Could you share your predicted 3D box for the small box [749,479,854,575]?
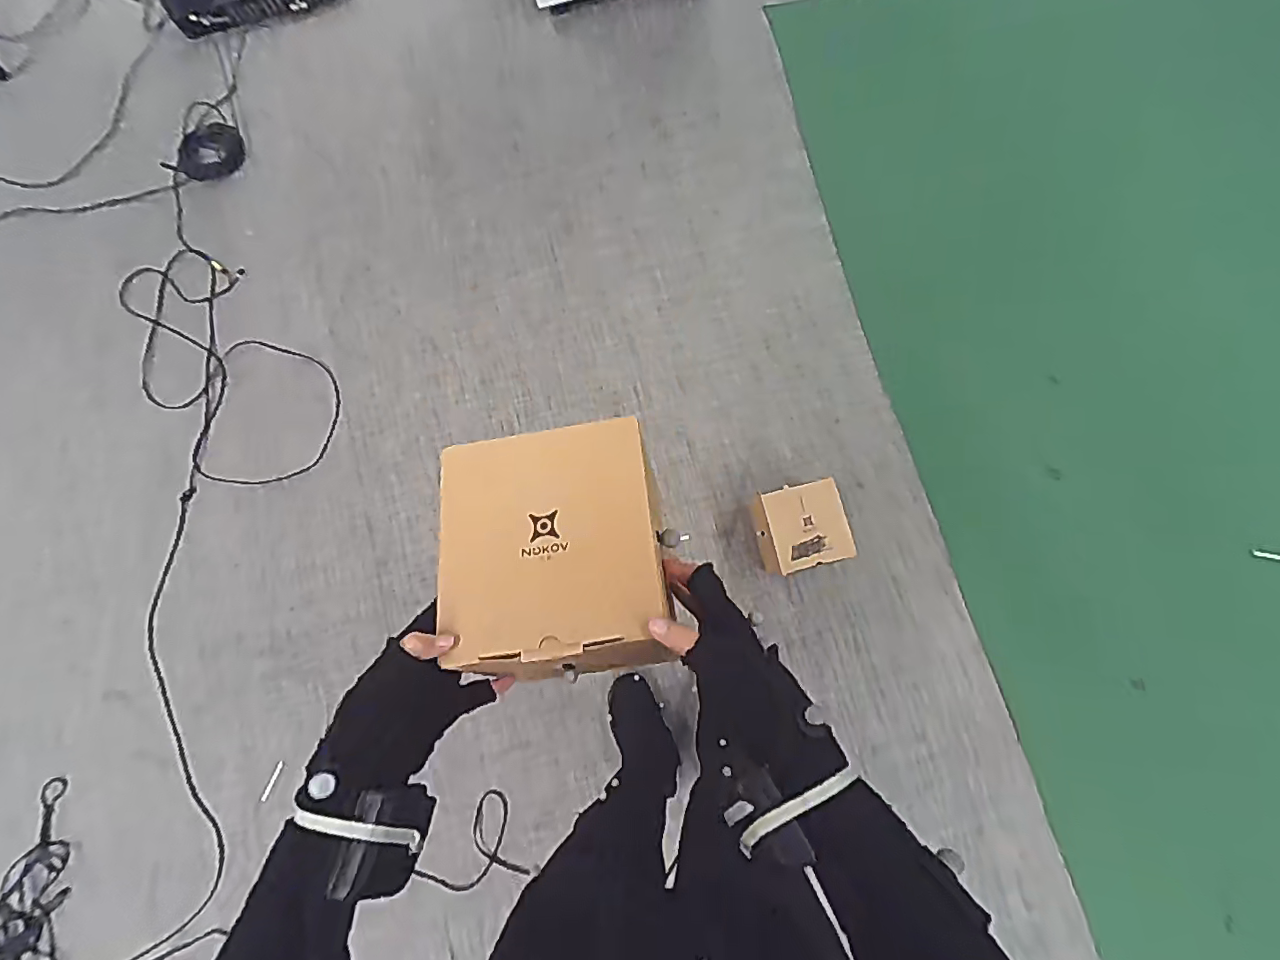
[{"bbox_3d":[0.354,0.109,1.216,0.168,0.176,0.179,-14,80,0],"label":"small box"}]
